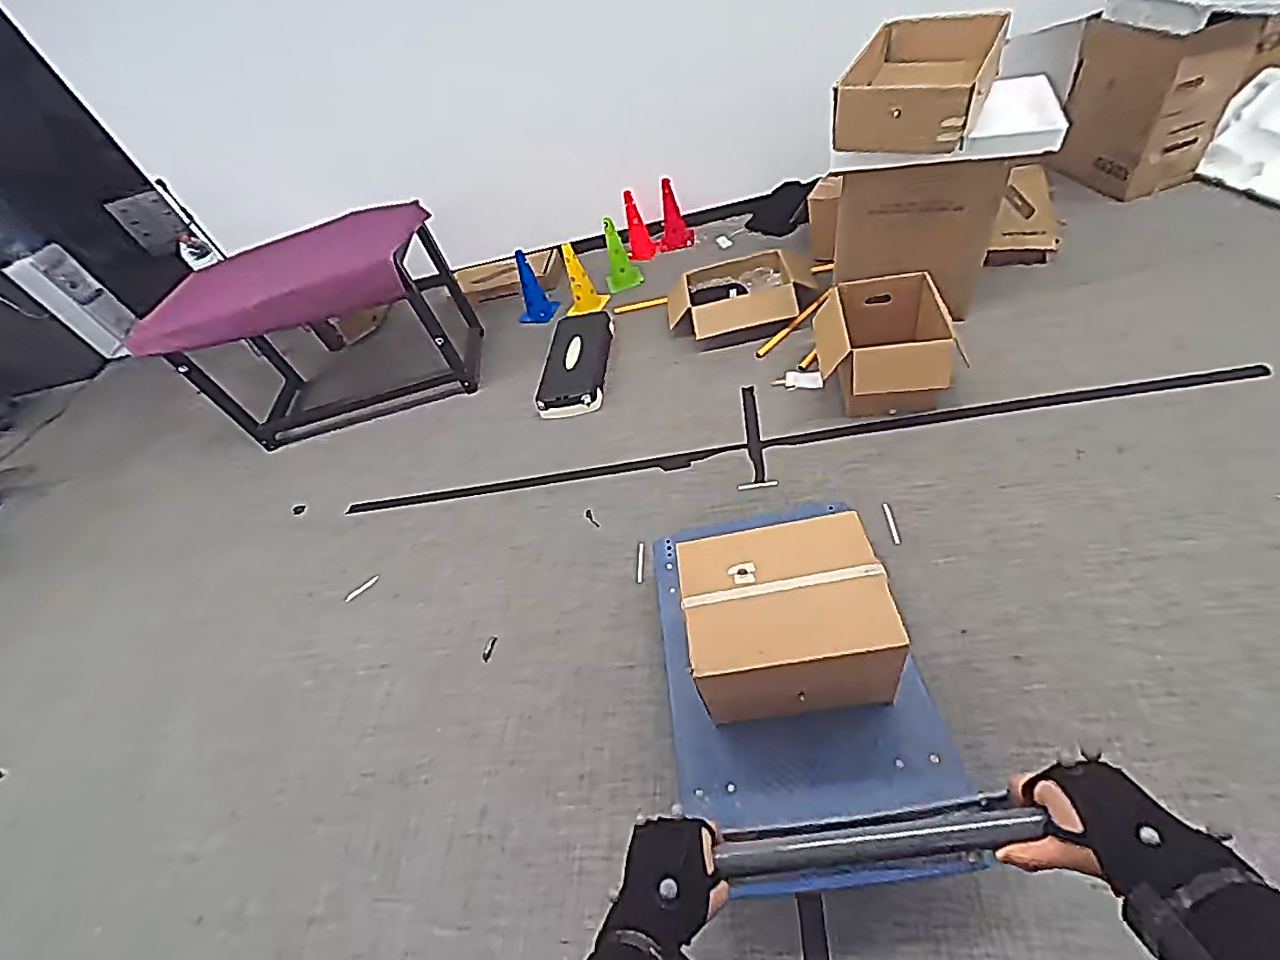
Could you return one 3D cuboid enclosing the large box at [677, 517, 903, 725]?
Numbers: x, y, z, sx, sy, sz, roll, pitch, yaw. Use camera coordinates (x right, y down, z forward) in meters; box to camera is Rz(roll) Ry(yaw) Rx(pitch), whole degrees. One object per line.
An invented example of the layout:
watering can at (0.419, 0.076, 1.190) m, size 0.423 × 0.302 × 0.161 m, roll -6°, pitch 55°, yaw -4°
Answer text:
large box at (0.325, 0.332, 1.233) m, size 0.408 × 0.320 × 0.320 m, roll -13°, pitch 47°, yaw 9°
